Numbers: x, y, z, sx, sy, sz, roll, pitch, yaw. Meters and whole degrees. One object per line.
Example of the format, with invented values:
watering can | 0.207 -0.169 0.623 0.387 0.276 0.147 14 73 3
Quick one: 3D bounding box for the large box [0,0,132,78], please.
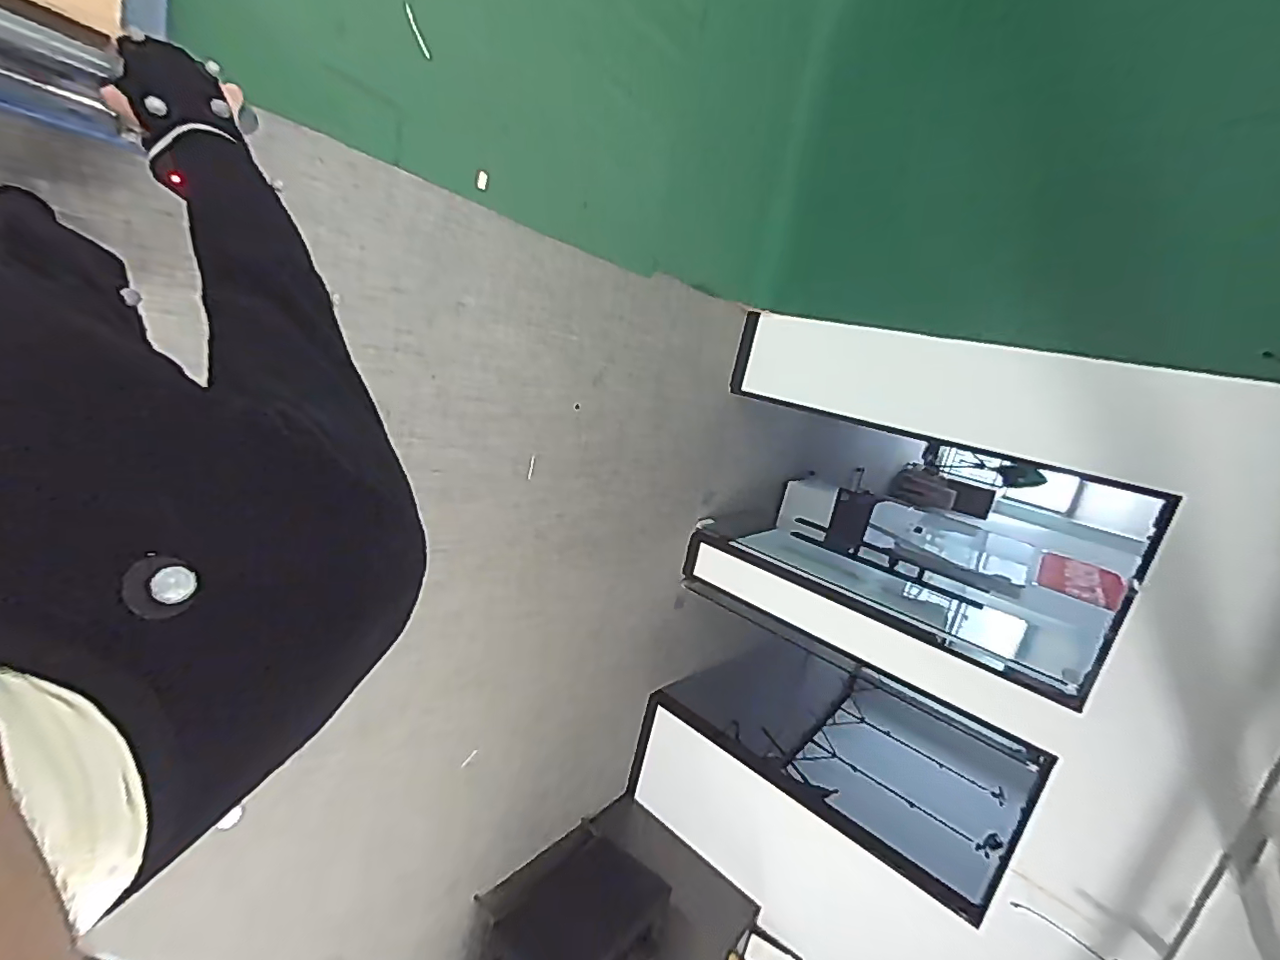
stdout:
large box | -0.882 -0.825 0.682 0.320 0.320 0.408 -4 109 -52
